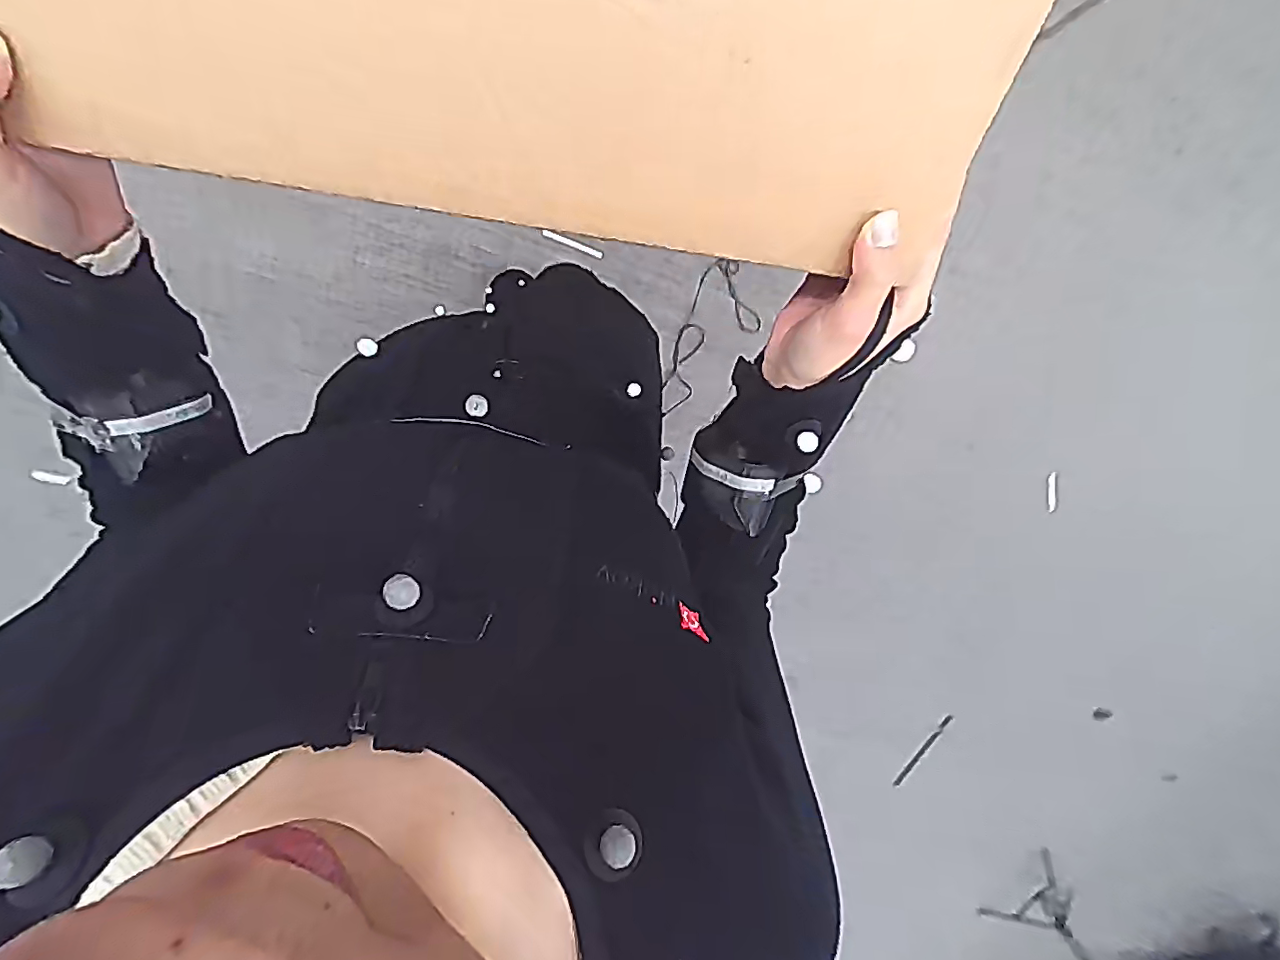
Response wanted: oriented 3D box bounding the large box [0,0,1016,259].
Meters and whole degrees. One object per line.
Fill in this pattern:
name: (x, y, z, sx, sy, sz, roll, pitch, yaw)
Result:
large box: (-0.055, -0.333, 0.263, 0.408, 0.320, 0.320, 4, 130, -9)
